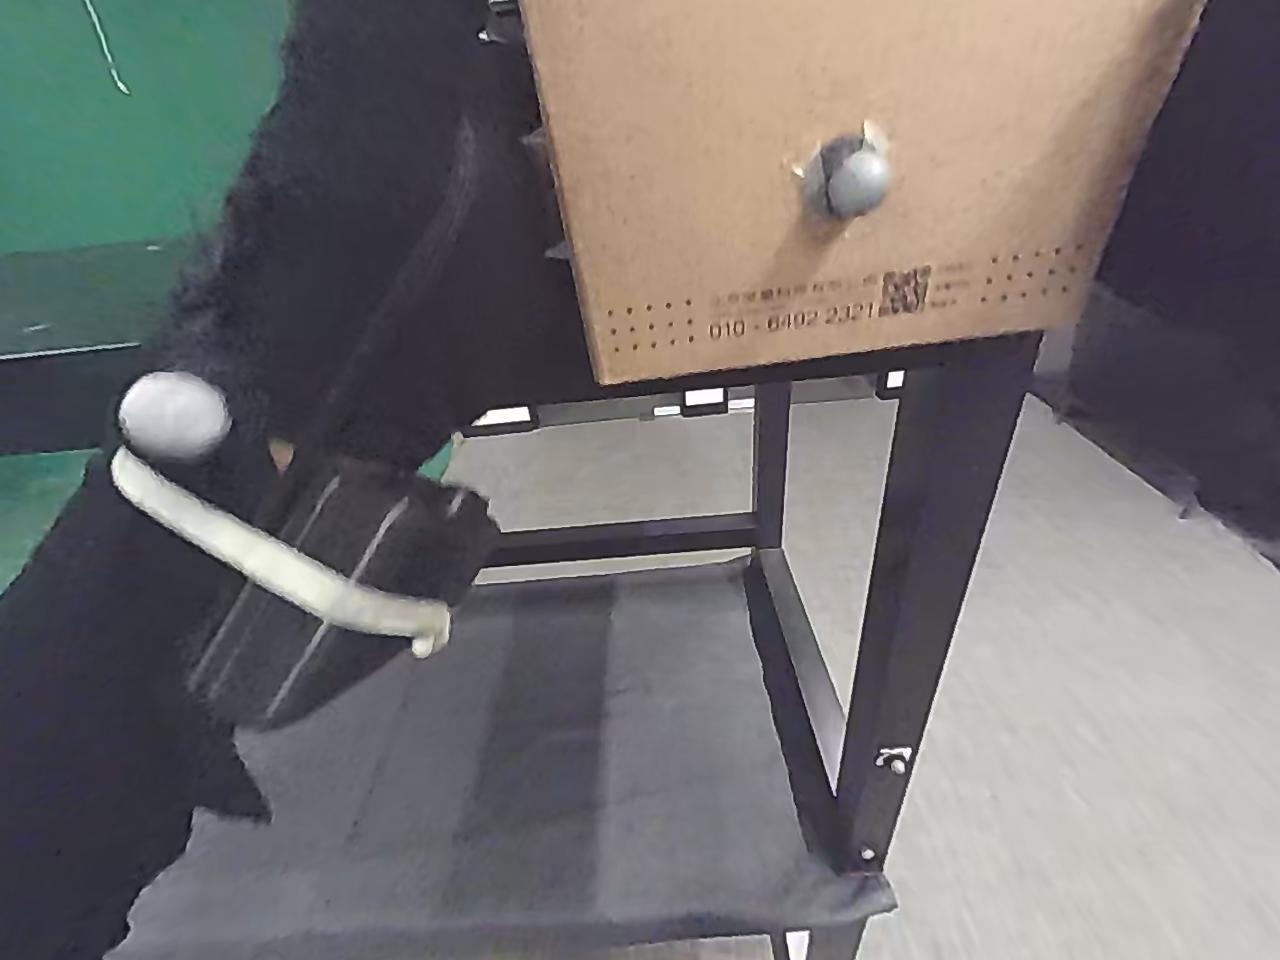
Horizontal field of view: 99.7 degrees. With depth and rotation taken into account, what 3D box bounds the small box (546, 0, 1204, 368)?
[{"bbox_3d":[0.057,-0.160,0.202,0.168,0.176,0.179,-7,39,3],"label":"small box"}]
